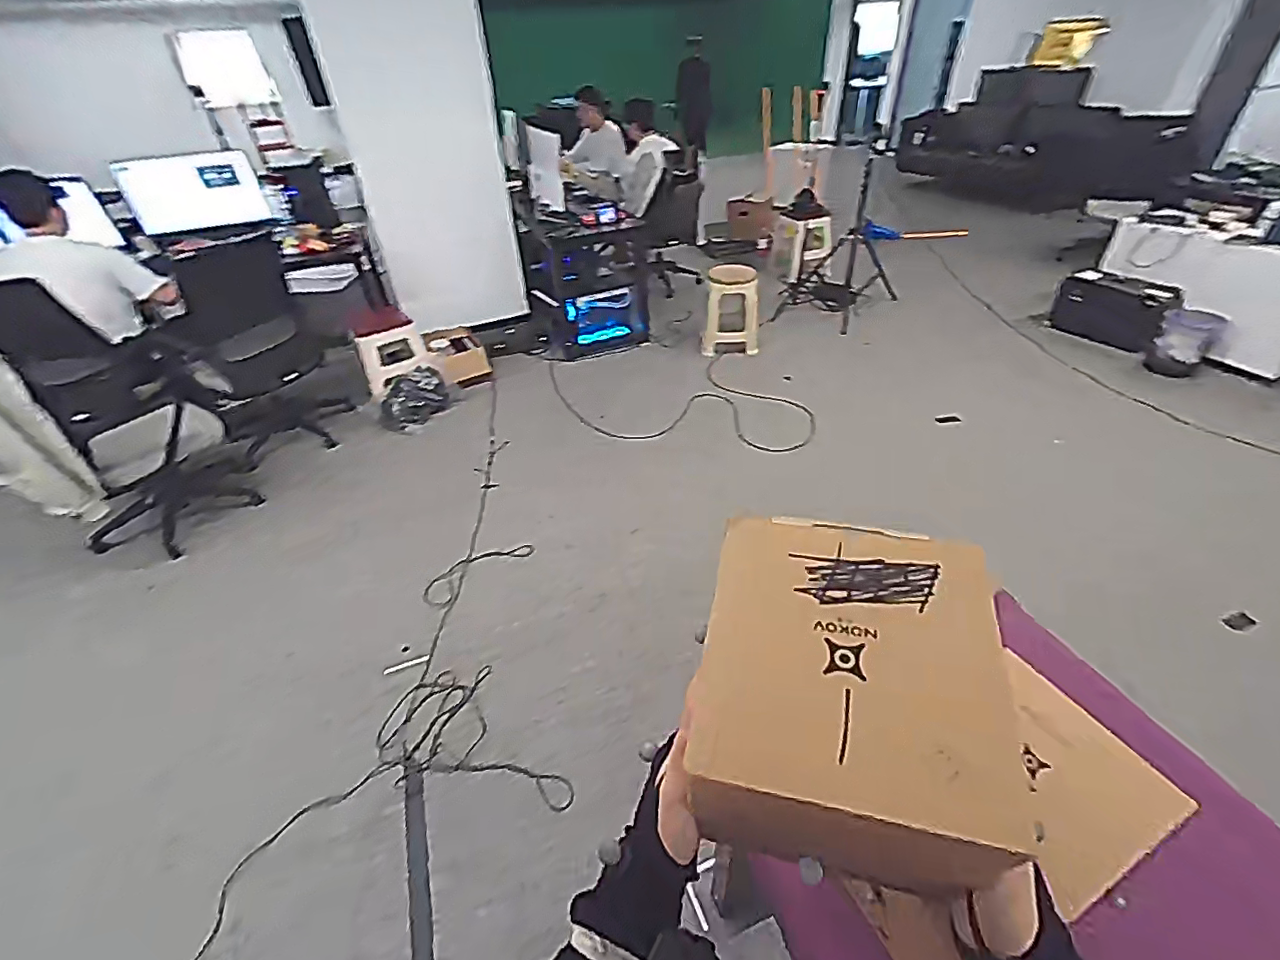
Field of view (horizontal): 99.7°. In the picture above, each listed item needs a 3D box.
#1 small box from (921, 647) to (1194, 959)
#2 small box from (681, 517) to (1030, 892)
[{"bbox_3d":[0.329,0.299,0.504,0.179,0.176,0.168,-19,43,-20],"label":"small box"},{"bbox_3d":[0.128,0.152,0.375,0.168,0.176,0.179,5,49,15],"label":"small box"}]
